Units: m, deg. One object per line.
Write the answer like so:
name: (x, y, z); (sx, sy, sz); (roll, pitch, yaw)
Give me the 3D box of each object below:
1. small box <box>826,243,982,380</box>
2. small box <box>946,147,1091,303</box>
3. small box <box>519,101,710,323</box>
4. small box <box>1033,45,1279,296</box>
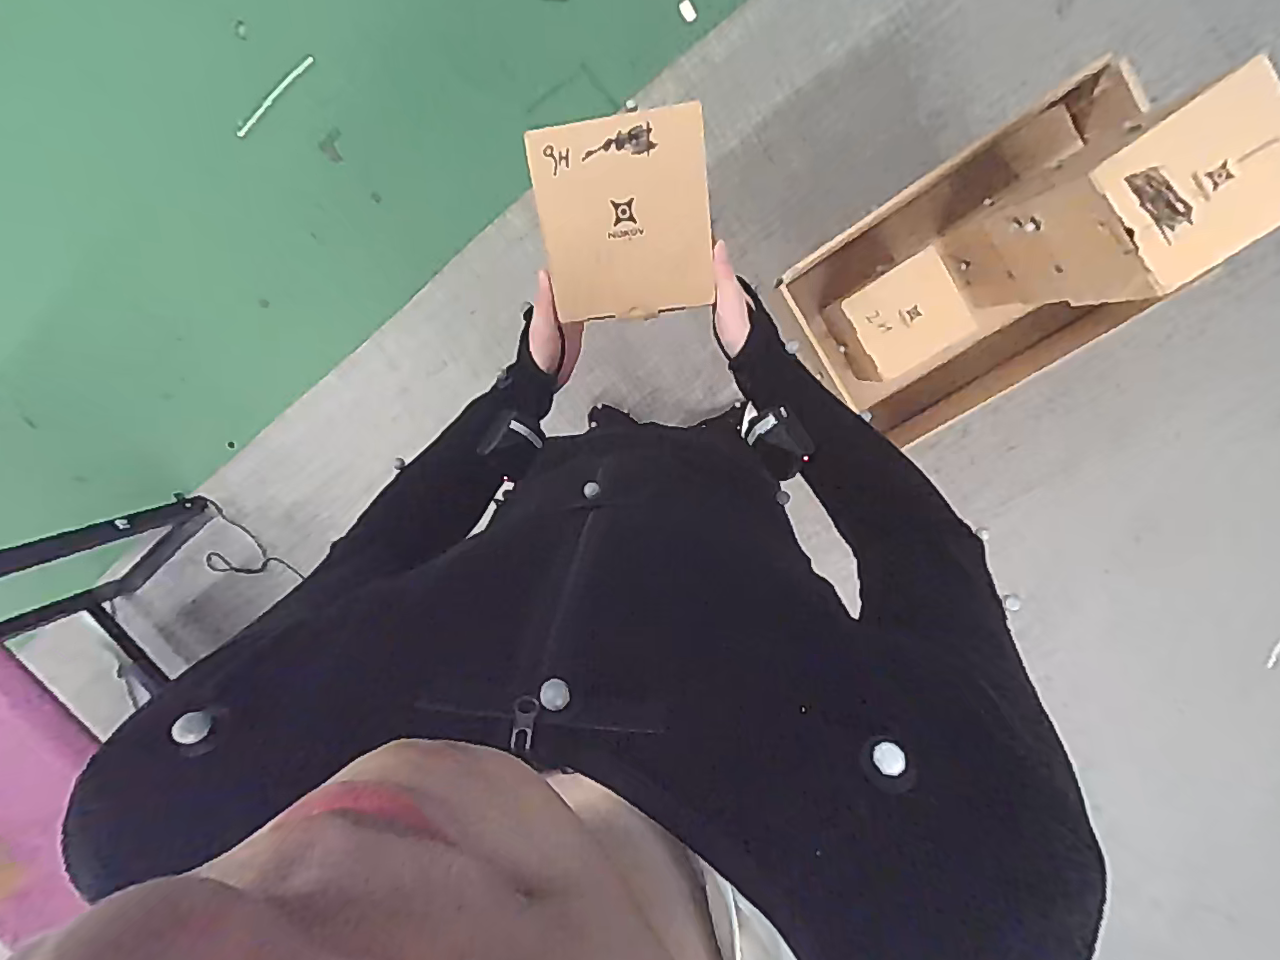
small box: (0.474, -0.302, 0.999); (0.179, 0.176, 0.168); (-32, 96, 11)
small box: (0.685, -0.433, 0.950); (0.179, 0.176, 0.168); (-33, 97, 16)
small box: (-0.012, -0.282, 0.587); (0.168, 0.176, 0.179); (-5, 115, 9)
small box: (0.615, -0.340, 0.642); (0.179, 0.176, 0.168); (-35, 96, 15)
